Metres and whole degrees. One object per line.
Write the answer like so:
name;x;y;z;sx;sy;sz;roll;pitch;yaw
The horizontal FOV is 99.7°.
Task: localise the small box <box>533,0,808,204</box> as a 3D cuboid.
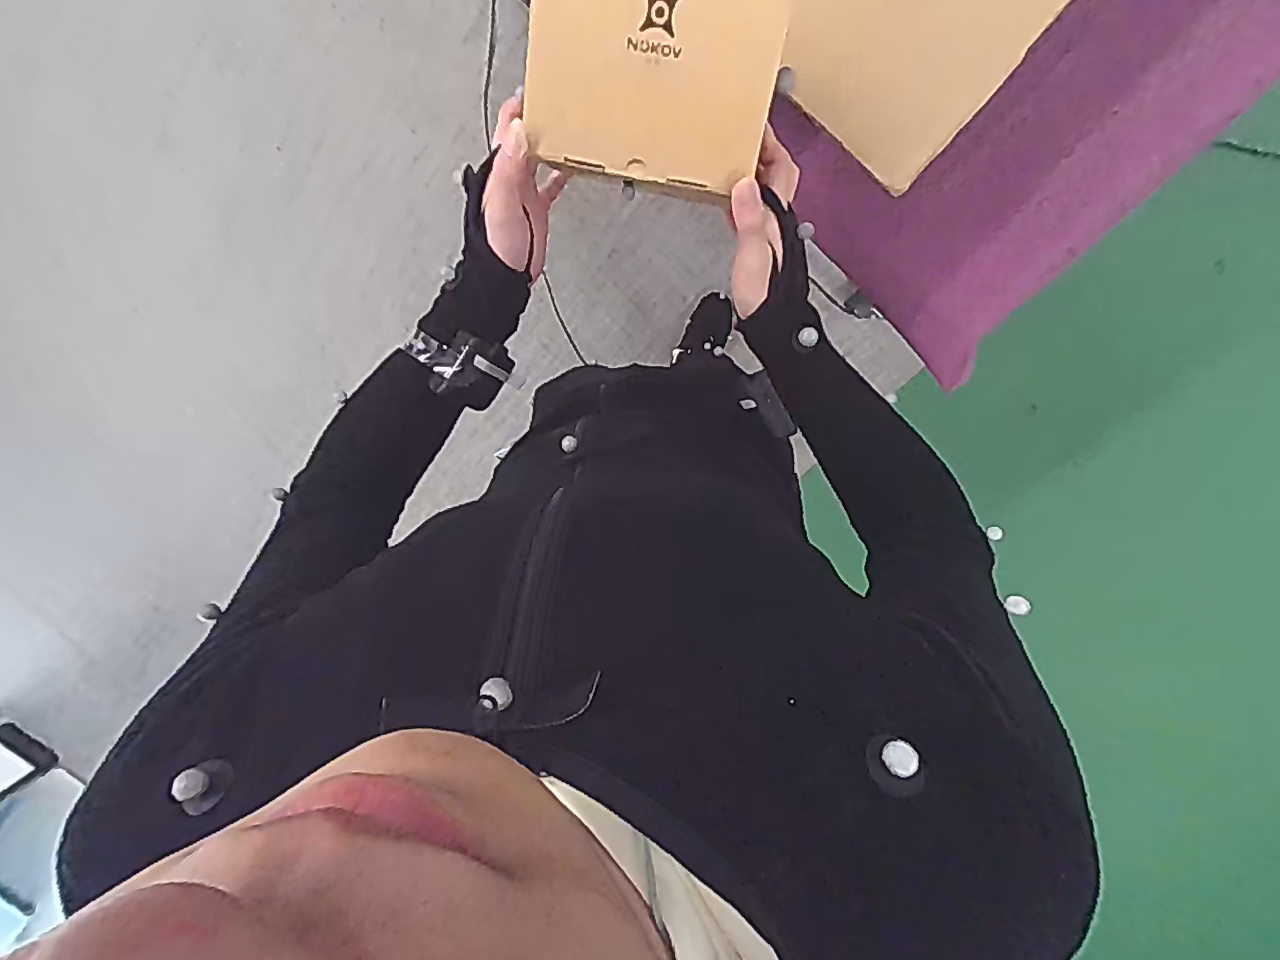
small box;0.023;-0.324;0.415;0.168;0.176;0.179;10;117;-1
